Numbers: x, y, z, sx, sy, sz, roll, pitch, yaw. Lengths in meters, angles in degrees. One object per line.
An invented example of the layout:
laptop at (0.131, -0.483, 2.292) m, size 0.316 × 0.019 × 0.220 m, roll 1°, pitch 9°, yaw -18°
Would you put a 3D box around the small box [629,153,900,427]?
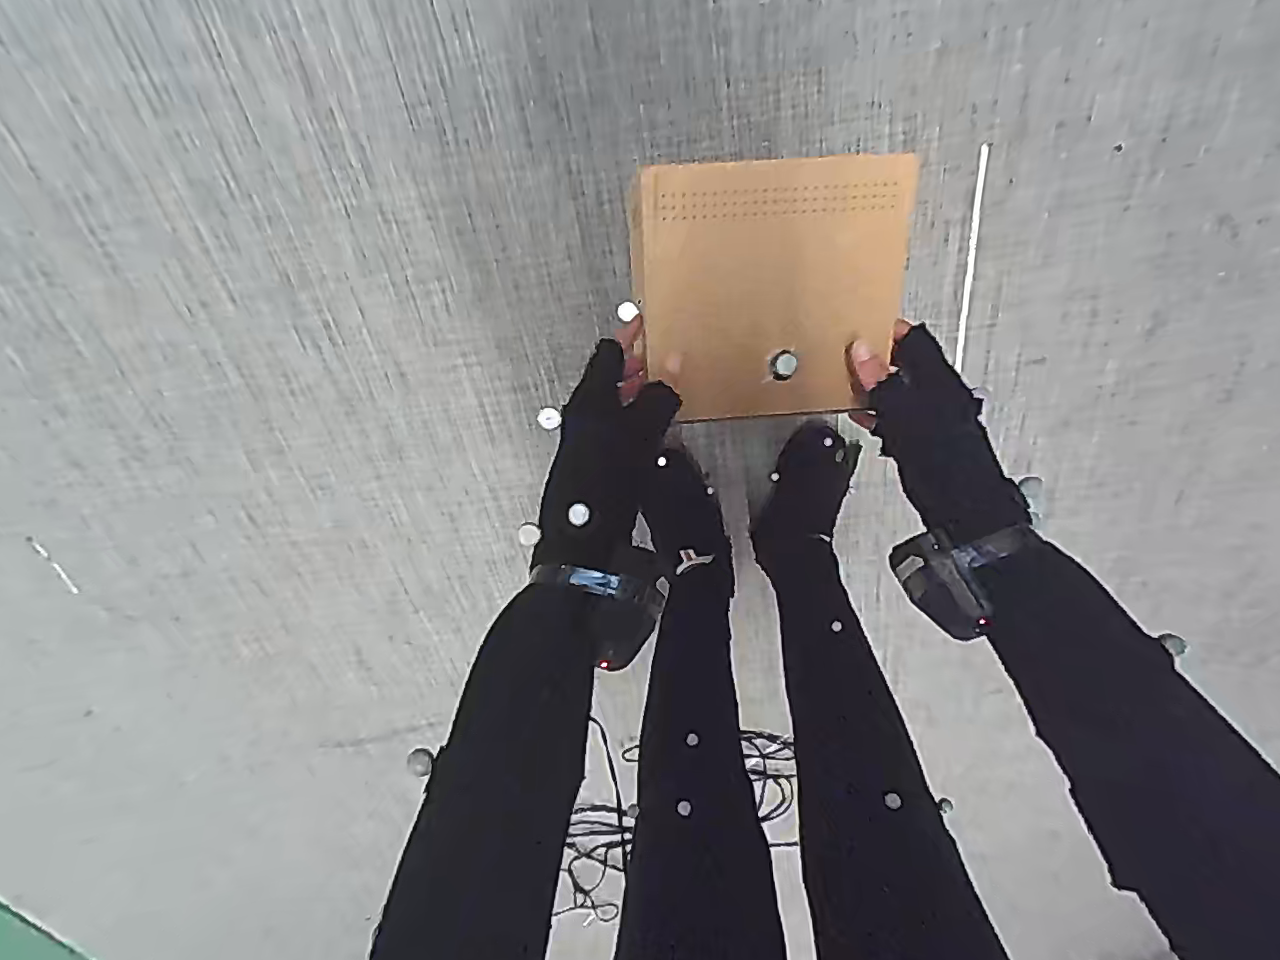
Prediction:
small box at (0.083, -0.149, 0.438) m, size 0.179 × 0.168 × 0.176 m, roll -5°, pitch 111°, yaw -1°
